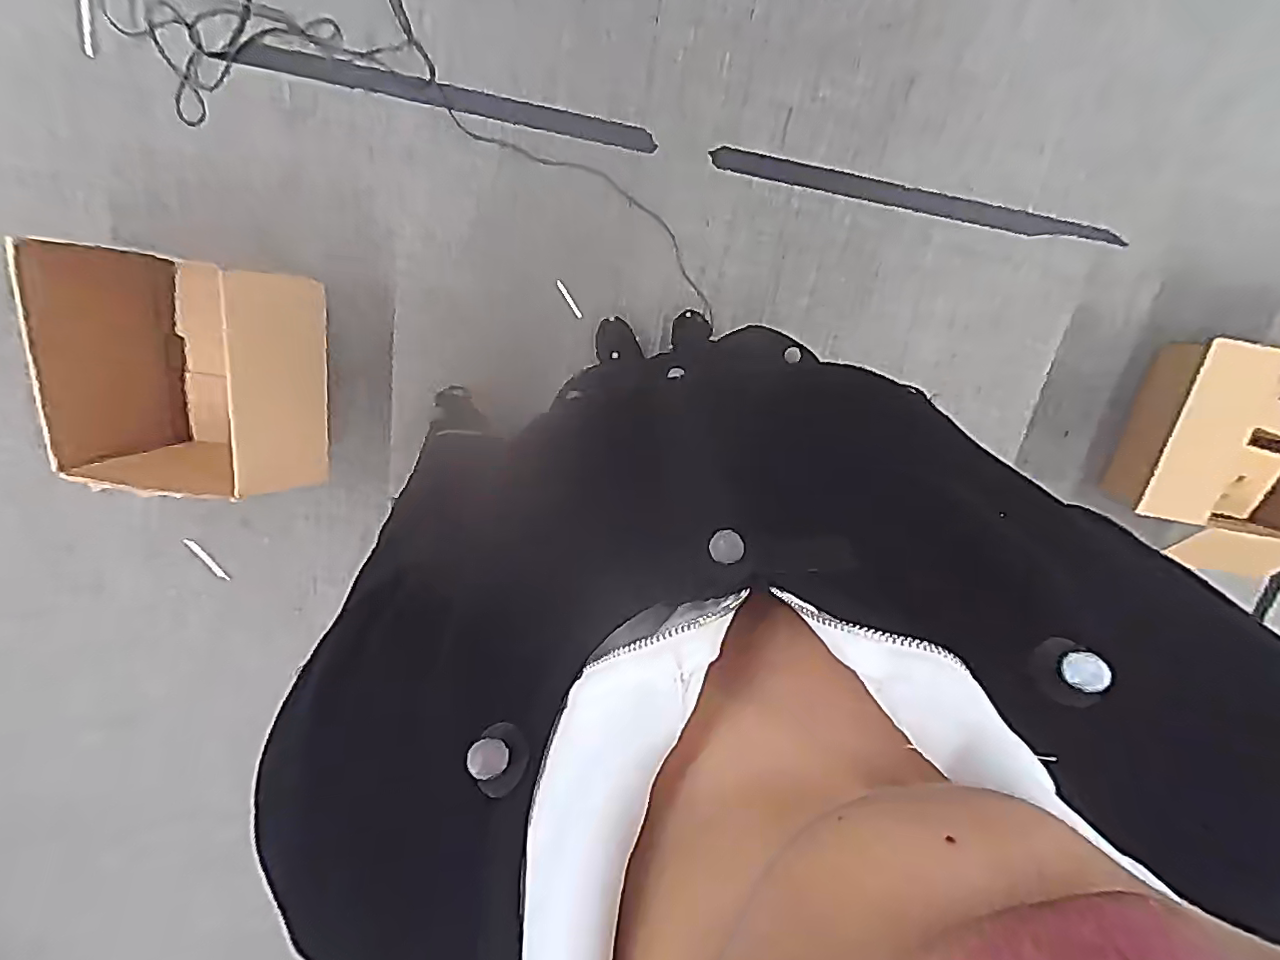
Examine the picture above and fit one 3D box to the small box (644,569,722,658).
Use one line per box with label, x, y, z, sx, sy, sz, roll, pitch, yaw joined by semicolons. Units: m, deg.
small box;0.115;0.366;1.508;0.179;0.176;0.168;13;104;-3
